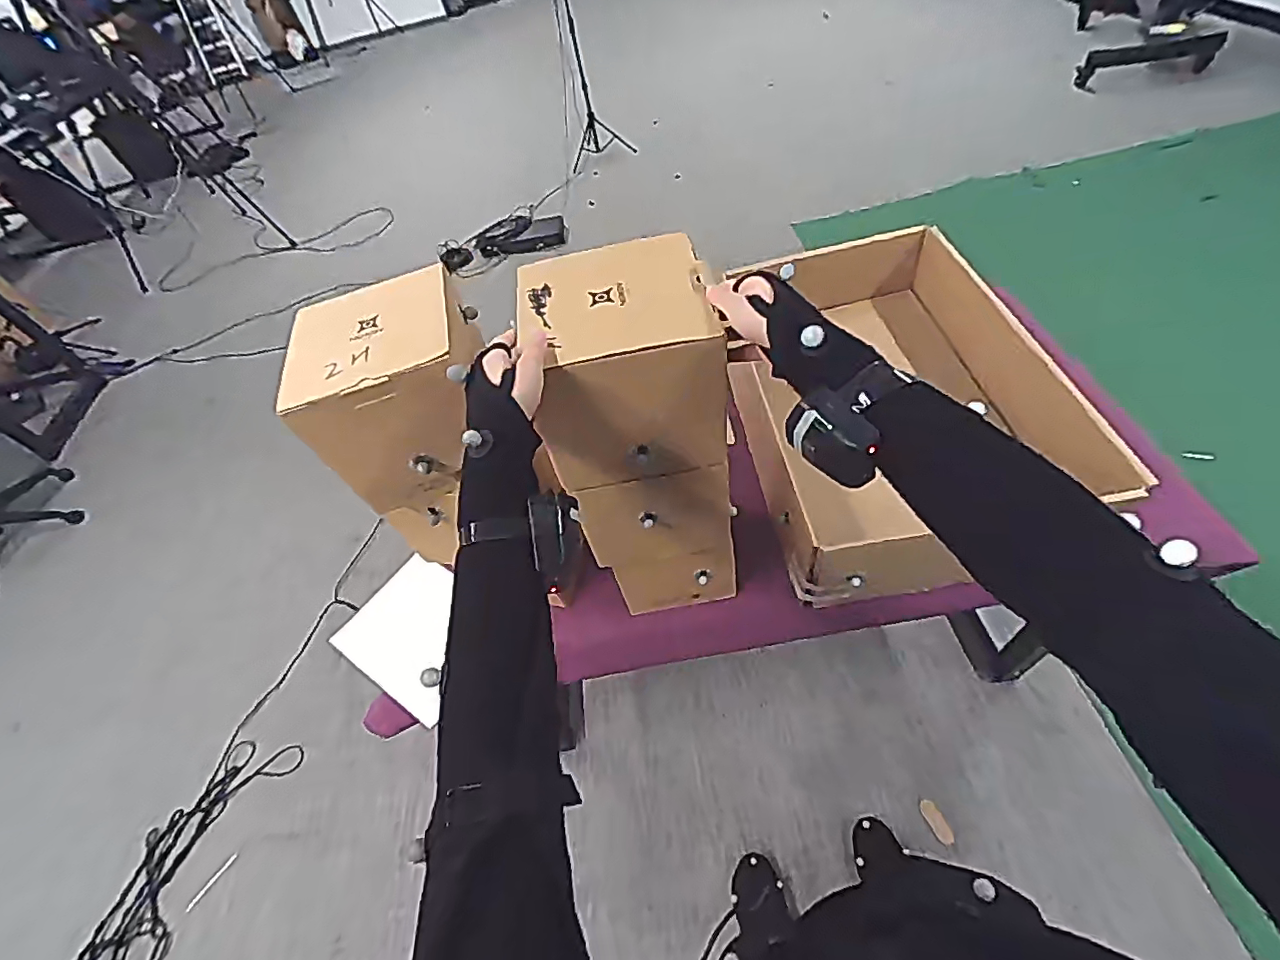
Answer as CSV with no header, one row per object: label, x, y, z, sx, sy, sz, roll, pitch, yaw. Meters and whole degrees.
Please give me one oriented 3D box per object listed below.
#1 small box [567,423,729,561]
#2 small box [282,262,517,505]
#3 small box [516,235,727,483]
small box,0.014,-0.016,0.683,0.179,0.176,0.168,-10,50,5
small box,-0.250,-0.103,0.600,0.168,0.176,0.179,-19,52,-1
small box,-0.016,-0.116,0.548,0.179,0.176,0.168,-8,53,1
